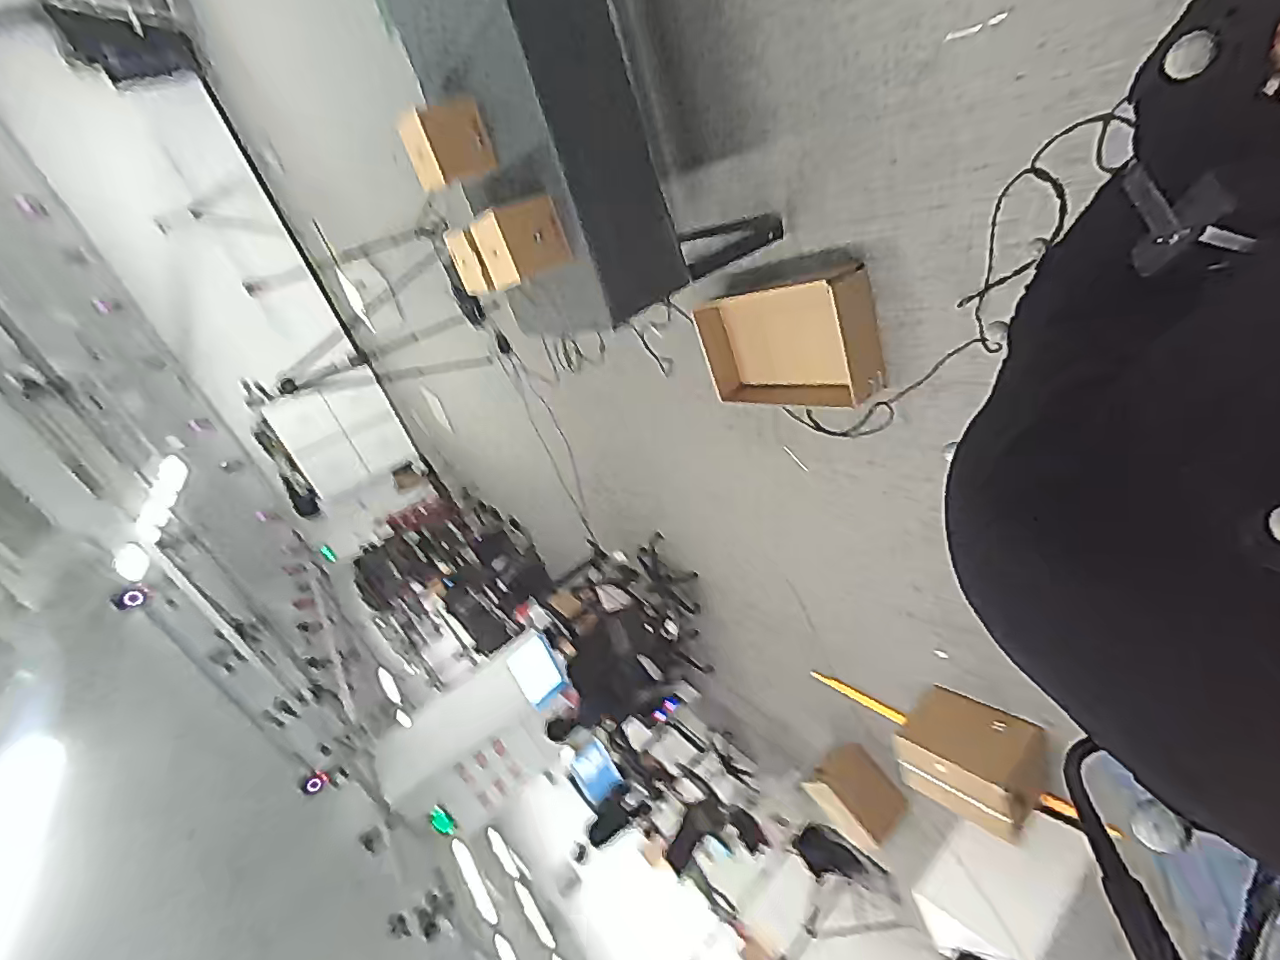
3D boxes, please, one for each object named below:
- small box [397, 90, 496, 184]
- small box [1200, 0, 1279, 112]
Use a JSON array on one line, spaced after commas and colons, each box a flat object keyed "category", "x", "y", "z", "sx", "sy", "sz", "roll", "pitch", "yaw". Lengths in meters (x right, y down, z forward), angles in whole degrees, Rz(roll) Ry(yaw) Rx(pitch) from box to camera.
[{"category": "small box", "x": -0.510, "y": -0.907, "z": 1.437, "sx": 0.179, "sy": 0.176, "sz": 0.168, "roll": 23, "pitch": 140, "yaw": 49}, {"category": "small box", "x": 0.977, "y": -0.677, "z": 0.793, "sx": 0.168, "sy": 0.176, "sz": 0.179, "roll": 64, "pitch": 168, "yaw": -25}]
